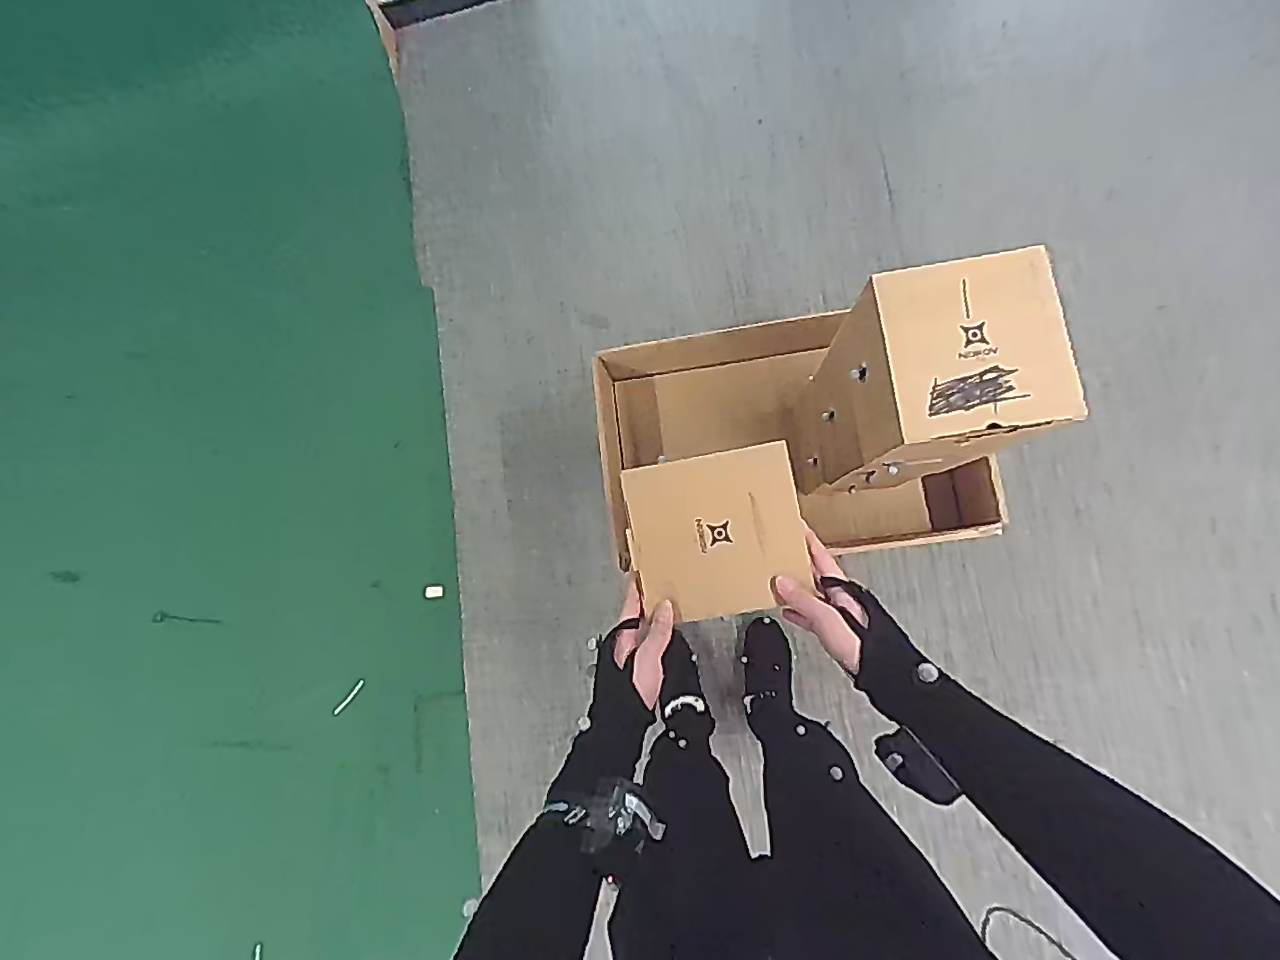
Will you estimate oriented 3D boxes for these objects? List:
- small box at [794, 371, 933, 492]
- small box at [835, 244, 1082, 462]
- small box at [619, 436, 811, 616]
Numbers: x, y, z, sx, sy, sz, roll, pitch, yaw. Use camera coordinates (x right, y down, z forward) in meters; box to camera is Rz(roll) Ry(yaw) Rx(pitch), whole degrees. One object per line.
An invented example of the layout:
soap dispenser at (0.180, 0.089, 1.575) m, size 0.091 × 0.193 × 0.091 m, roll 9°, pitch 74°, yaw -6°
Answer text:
small box at (0.365, -0.081, 0.916) m, size 0.168 × 0.176 × 0.179 m, roll -7°, pitch 82°, yaw 6°
small box at (0.325, -0.121, 0.593) m, size 0.168 × 0.176 × 0.179 m, roll -8°, pitch 81°, yaw 6°
small box at (0.083, 0.053, 0.632) m, size 0.179 × 0.176 × 0.168 m, roll -10°, pitch 86°, yaw 5°
